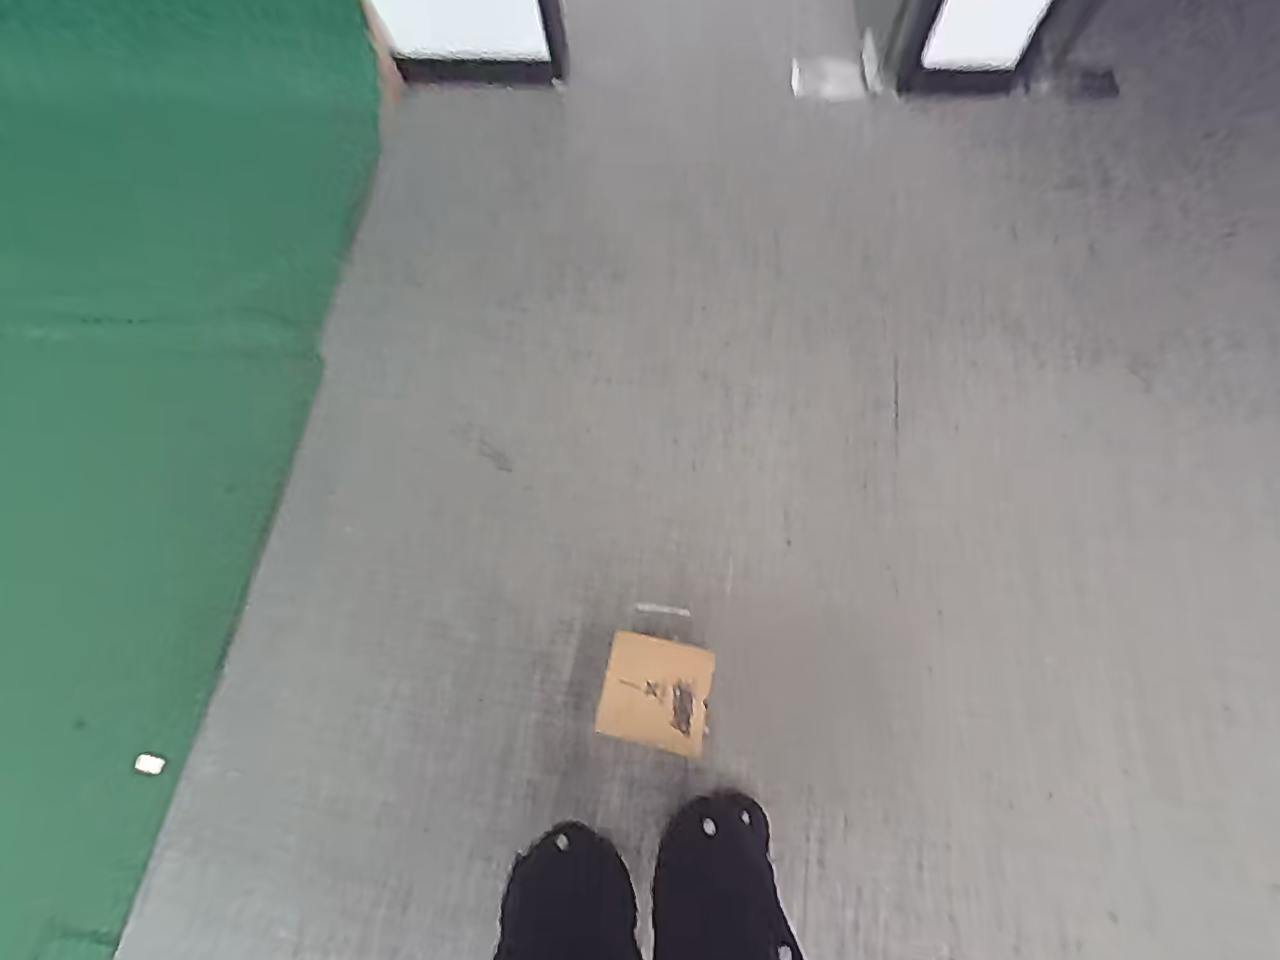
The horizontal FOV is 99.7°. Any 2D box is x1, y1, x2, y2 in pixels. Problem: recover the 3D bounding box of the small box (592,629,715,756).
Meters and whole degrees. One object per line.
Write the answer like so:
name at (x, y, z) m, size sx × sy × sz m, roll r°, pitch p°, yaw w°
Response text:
small box at (0.031, 0.371, 0.968) m, size 0.179 × 0.176 × 0.168 m, roll 11°, pitch 73°, yaw 9°
